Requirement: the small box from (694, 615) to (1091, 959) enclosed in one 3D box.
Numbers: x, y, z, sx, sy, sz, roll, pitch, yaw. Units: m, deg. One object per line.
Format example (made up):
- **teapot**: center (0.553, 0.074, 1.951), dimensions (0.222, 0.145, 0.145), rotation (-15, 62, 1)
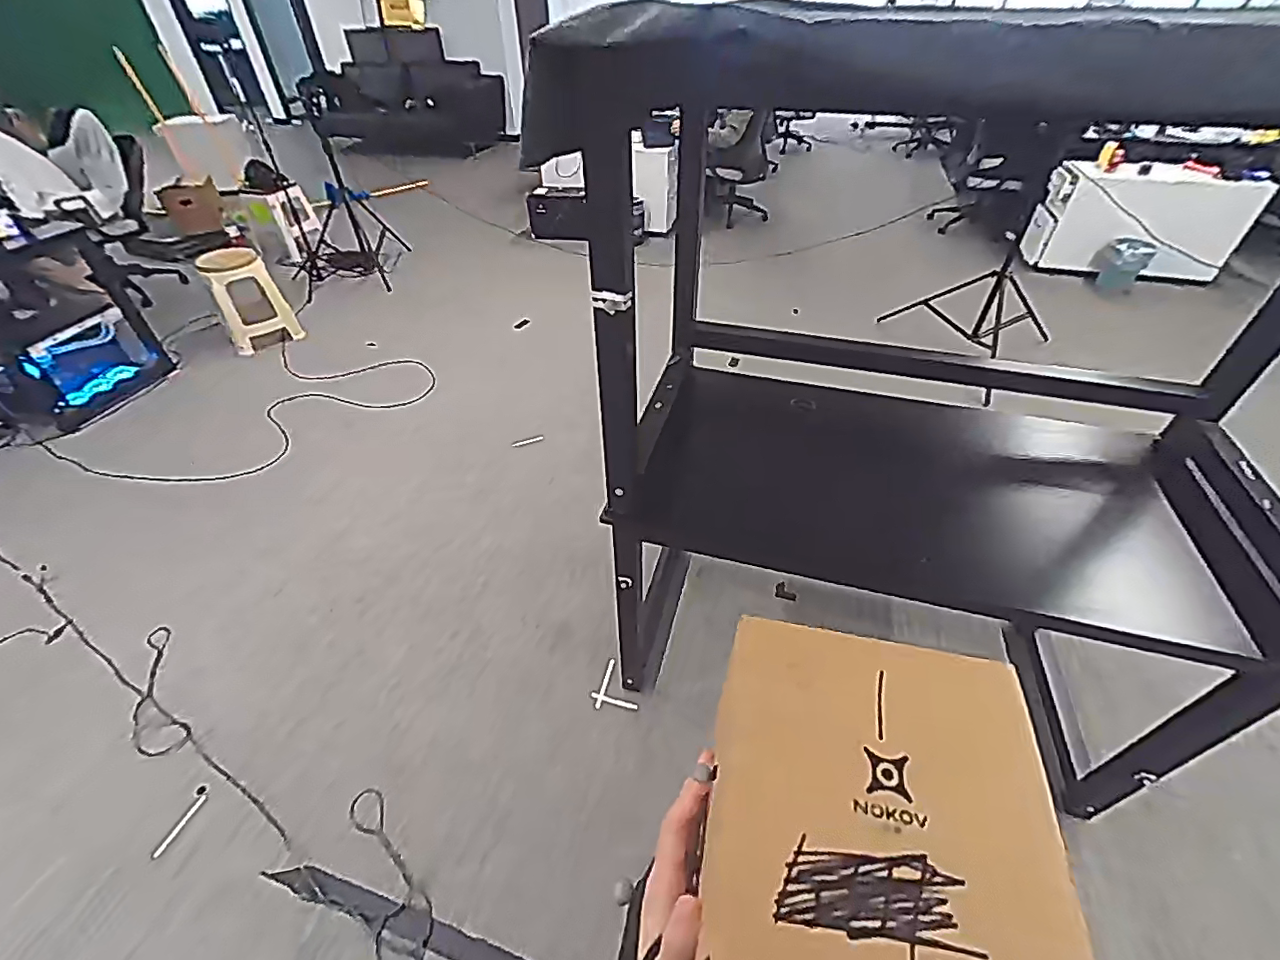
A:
- **small box**: center (0.127, 0.215, 0.337), dimensions (0.168, 0.176, 0.179), rotation (9, 47, 9)
